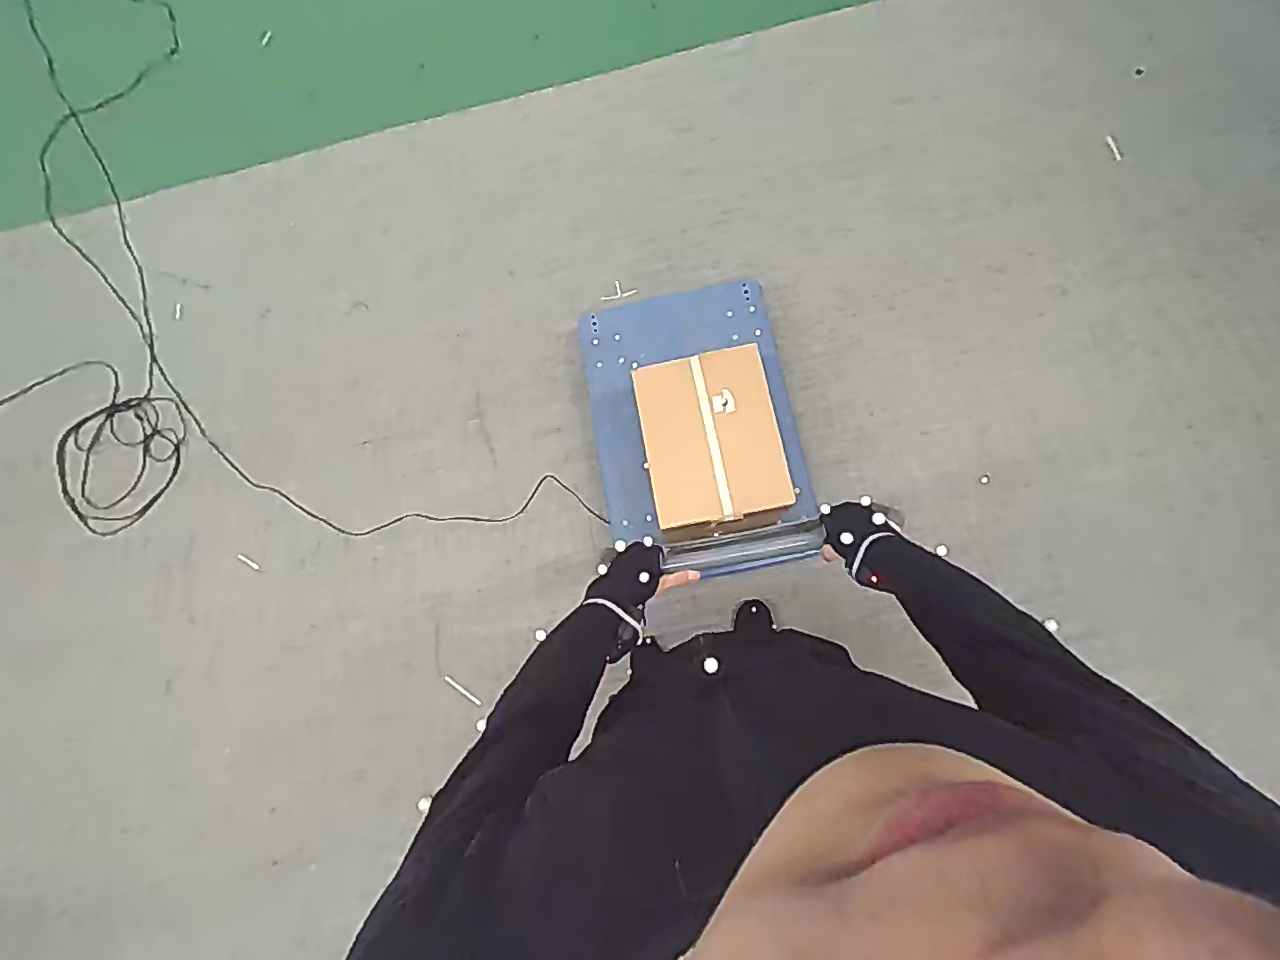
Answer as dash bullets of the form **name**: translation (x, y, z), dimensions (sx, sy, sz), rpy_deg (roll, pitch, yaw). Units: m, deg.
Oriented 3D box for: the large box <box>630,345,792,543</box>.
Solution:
- **large box**: translation (0.176, -0.076, 1.413), dimensions (0.320, 0.320, 0.408), rpy_deg (-11, 75, 3)
